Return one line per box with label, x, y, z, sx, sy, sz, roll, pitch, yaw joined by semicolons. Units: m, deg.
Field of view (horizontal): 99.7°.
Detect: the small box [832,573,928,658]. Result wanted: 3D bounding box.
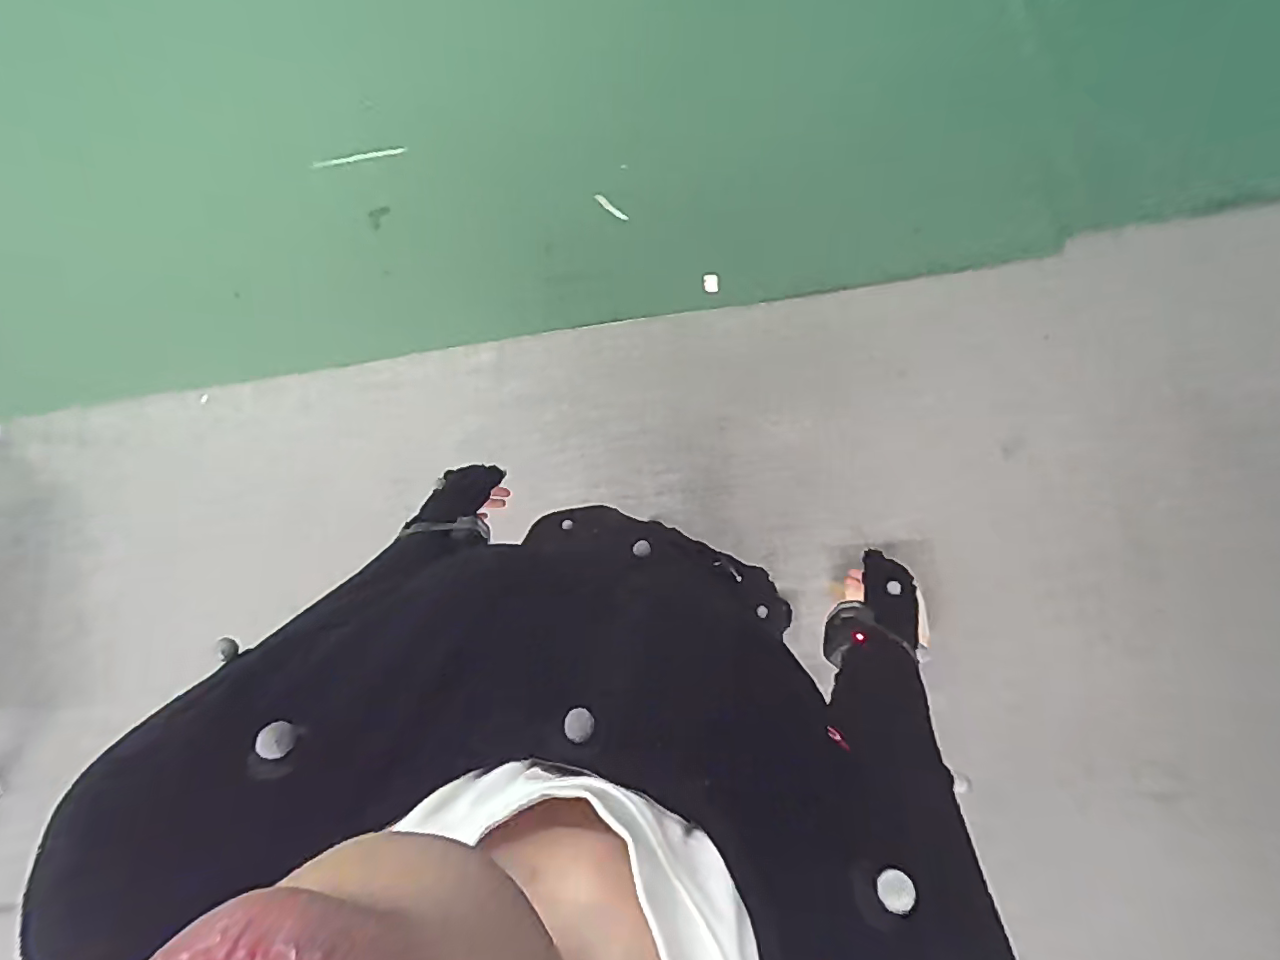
small box;0.570;0.322;1.305;0.168;0.176;0.179;-4;83;7
